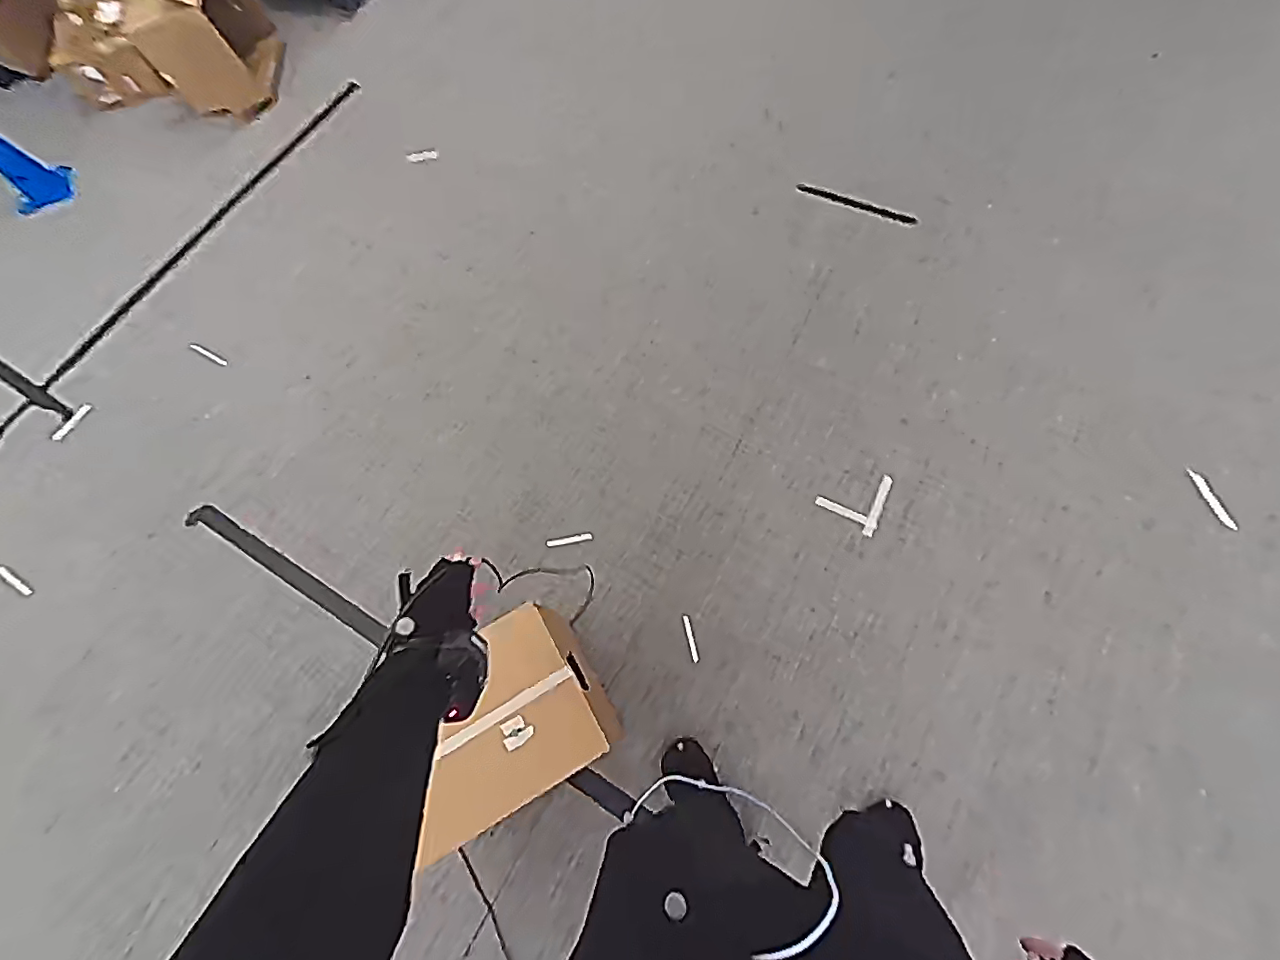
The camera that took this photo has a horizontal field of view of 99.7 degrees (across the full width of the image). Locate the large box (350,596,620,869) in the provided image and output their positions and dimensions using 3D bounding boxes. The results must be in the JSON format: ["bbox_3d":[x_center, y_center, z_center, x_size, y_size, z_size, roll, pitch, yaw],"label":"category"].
[{"bbox_3d":[-0.297,0.502,1.135,0.408,0.320,0.320,-29,71,-8],"label":"large box"}]
